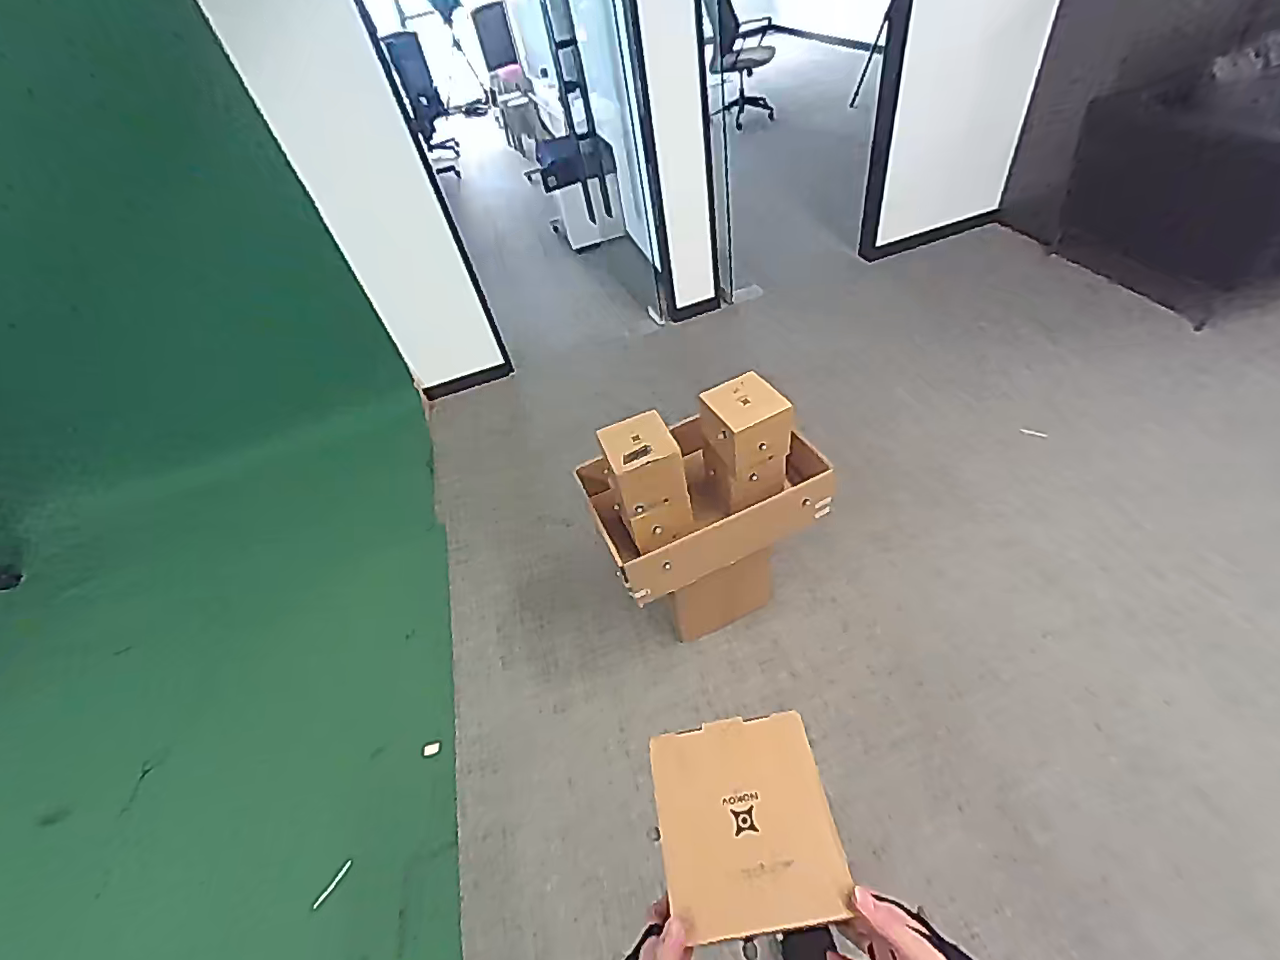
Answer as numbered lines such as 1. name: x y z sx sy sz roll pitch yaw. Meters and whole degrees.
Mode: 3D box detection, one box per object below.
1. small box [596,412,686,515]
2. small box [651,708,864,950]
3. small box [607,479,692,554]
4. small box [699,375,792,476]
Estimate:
1. small box: 0.005 -0.033 1.349 0.168 0.176 0.179 -20 45 -7
2. small box: 0.109 0.367 0.568 0.168 0.176 0.179 -11 48 1
3. small box: 0.029 0.079 1.467 0.168 0.176 0.179 -23 46 -9
4. small box: 0.269 -0.132 1.383 0.168 0.176 0.179 -24 47 -12
